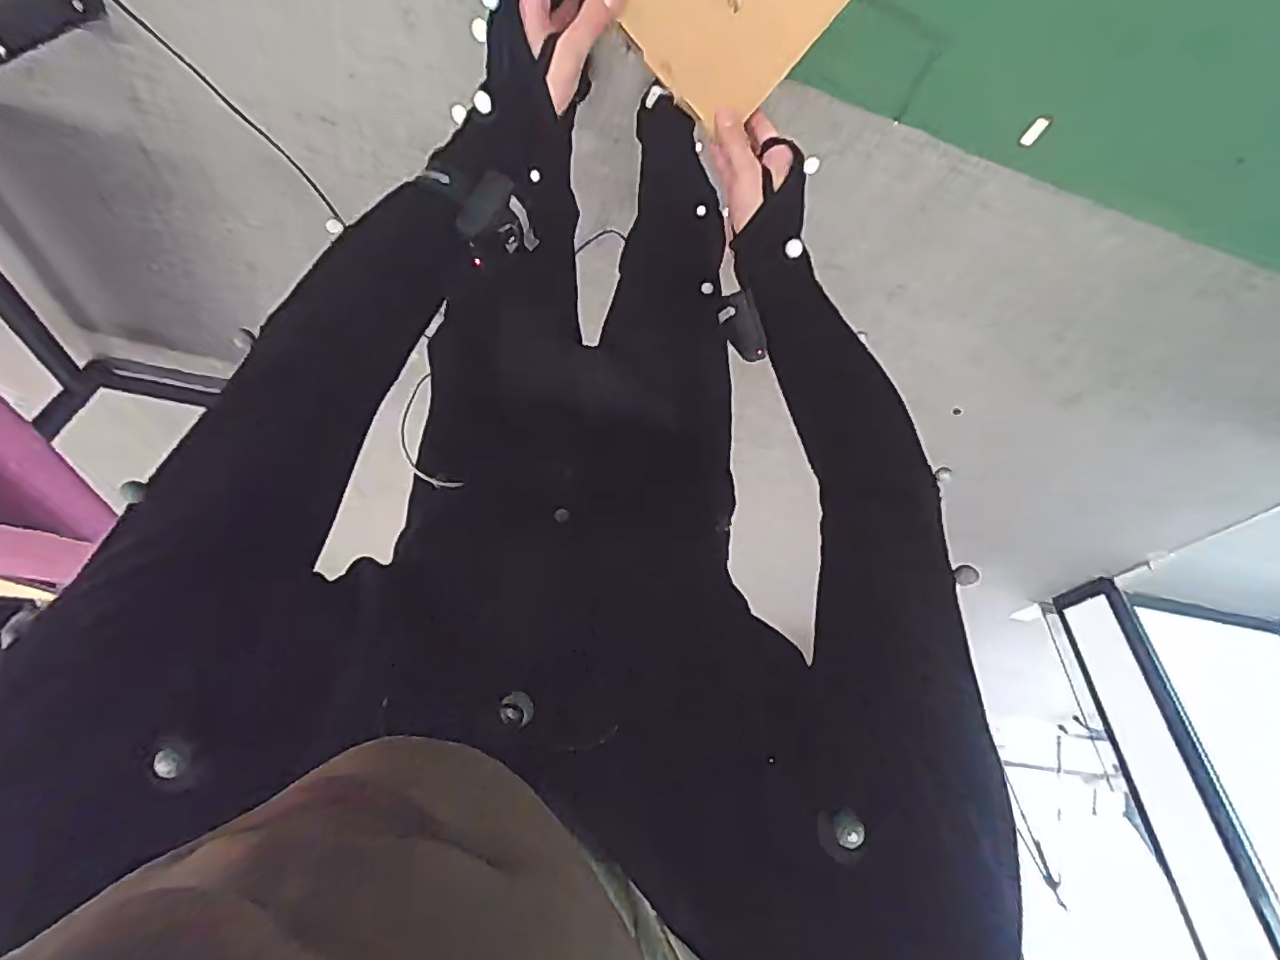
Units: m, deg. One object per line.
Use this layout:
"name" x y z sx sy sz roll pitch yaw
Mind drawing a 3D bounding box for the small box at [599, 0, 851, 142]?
"small box" 0.065 -0.450 0.467 0.168 0.176 0.179 27 126 -36
